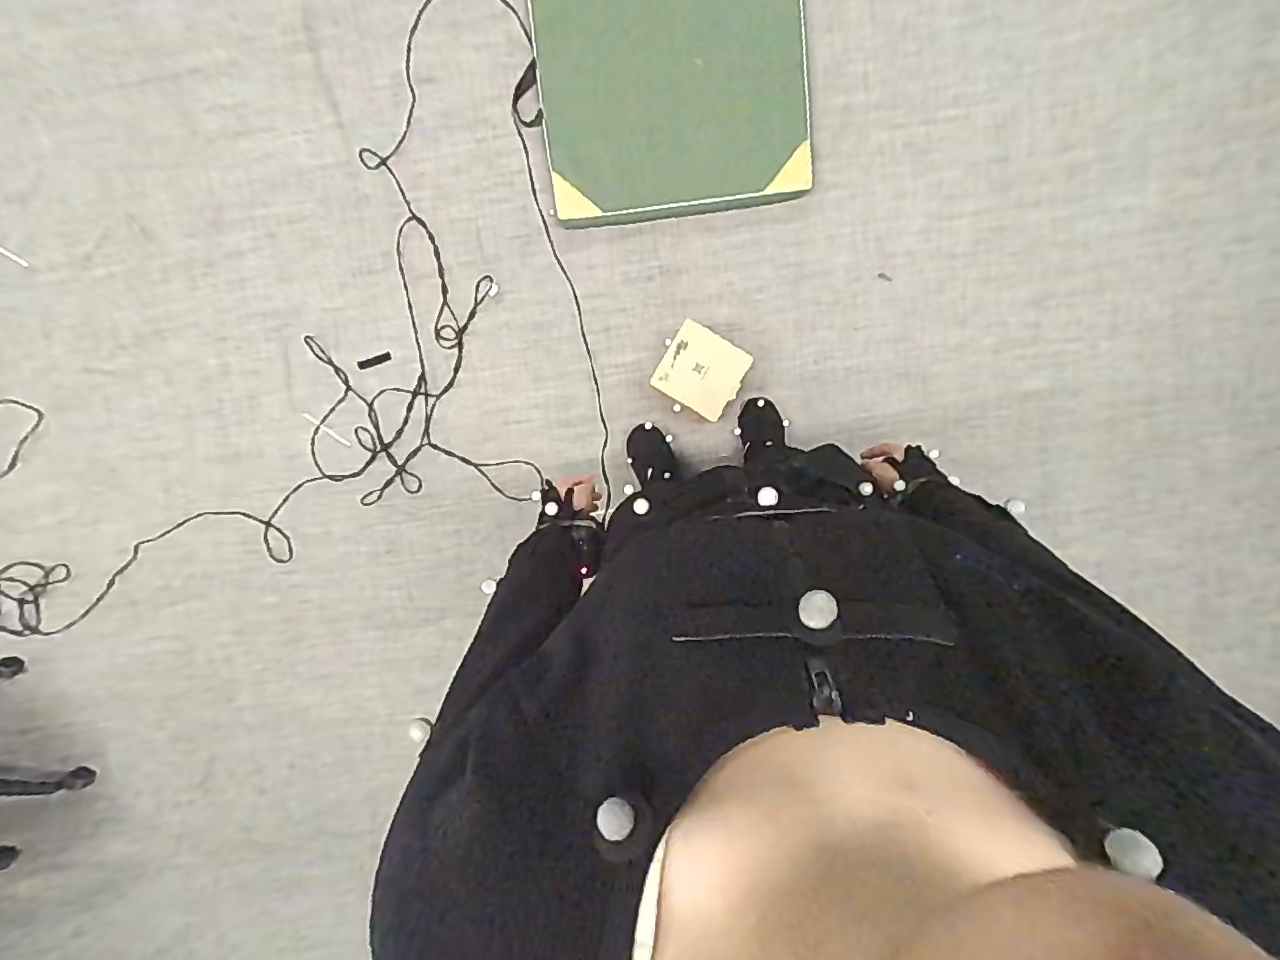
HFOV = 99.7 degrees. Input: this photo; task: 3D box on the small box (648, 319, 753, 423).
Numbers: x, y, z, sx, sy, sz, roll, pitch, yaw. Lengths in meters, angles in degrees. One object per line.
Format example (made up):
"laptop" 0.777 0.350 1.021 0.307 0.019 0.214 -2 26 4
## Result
"small box" 0.132 -0.247 1.252 0.179 0.176 0.168 31 96 -3
